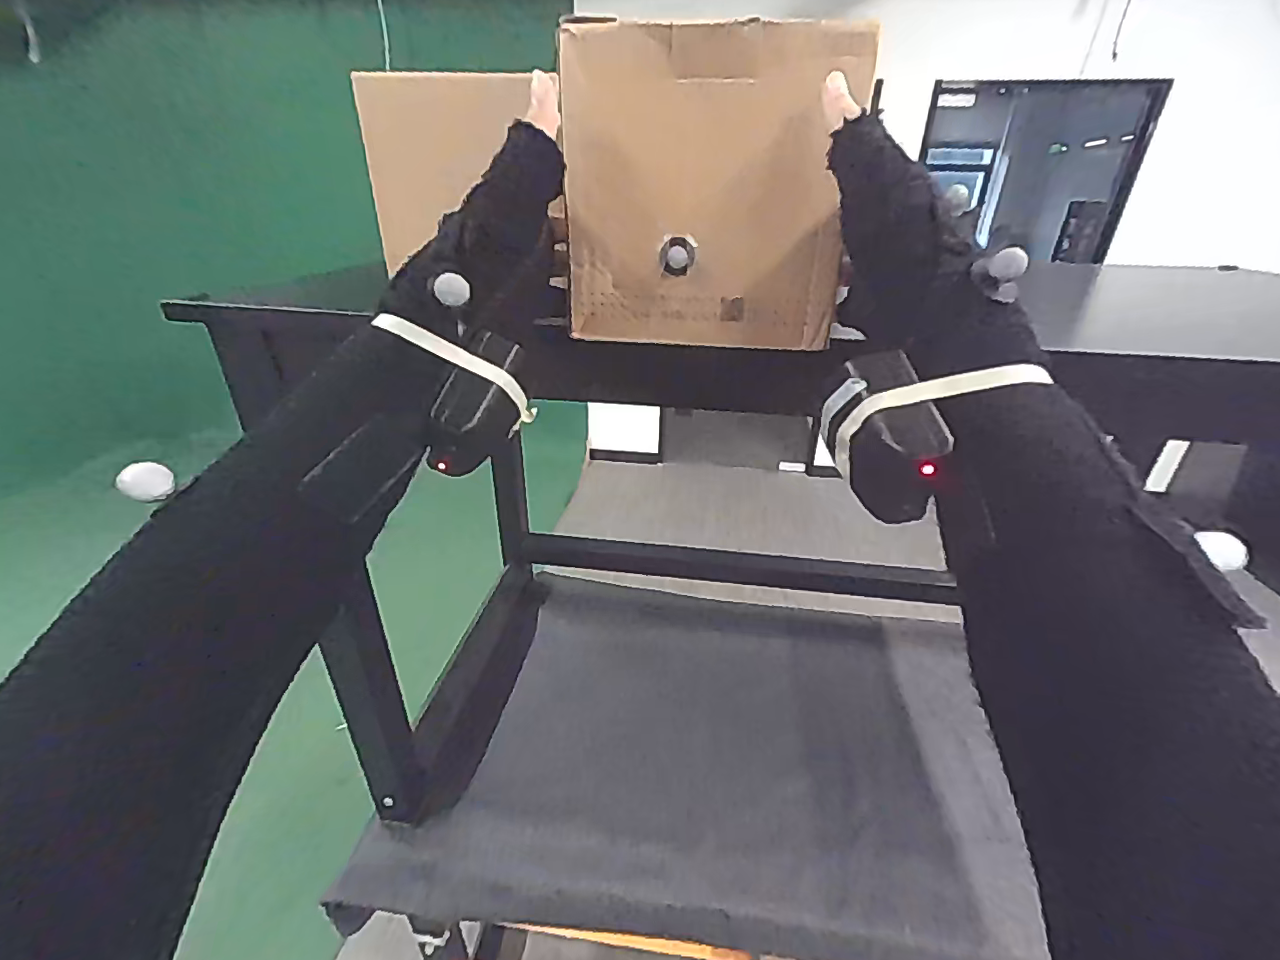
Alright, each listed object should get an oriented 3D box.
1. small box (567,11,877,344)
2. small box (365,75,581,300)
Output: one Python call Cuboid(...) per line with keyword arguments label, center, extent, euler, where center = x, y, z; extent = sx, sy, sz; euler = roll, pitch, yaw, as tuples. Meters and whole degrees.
Cuboid(label="small box", center=(0.048, -0.204, 0.391), extent=(0.168, 0.176, 0.179), euler=(4, 27, 5))
Cuboid(label="small box", center=(-0.136, -0.282, 0.537), extent=(0.168, 0.176, 0.179), euler=(2, 28, 4))
